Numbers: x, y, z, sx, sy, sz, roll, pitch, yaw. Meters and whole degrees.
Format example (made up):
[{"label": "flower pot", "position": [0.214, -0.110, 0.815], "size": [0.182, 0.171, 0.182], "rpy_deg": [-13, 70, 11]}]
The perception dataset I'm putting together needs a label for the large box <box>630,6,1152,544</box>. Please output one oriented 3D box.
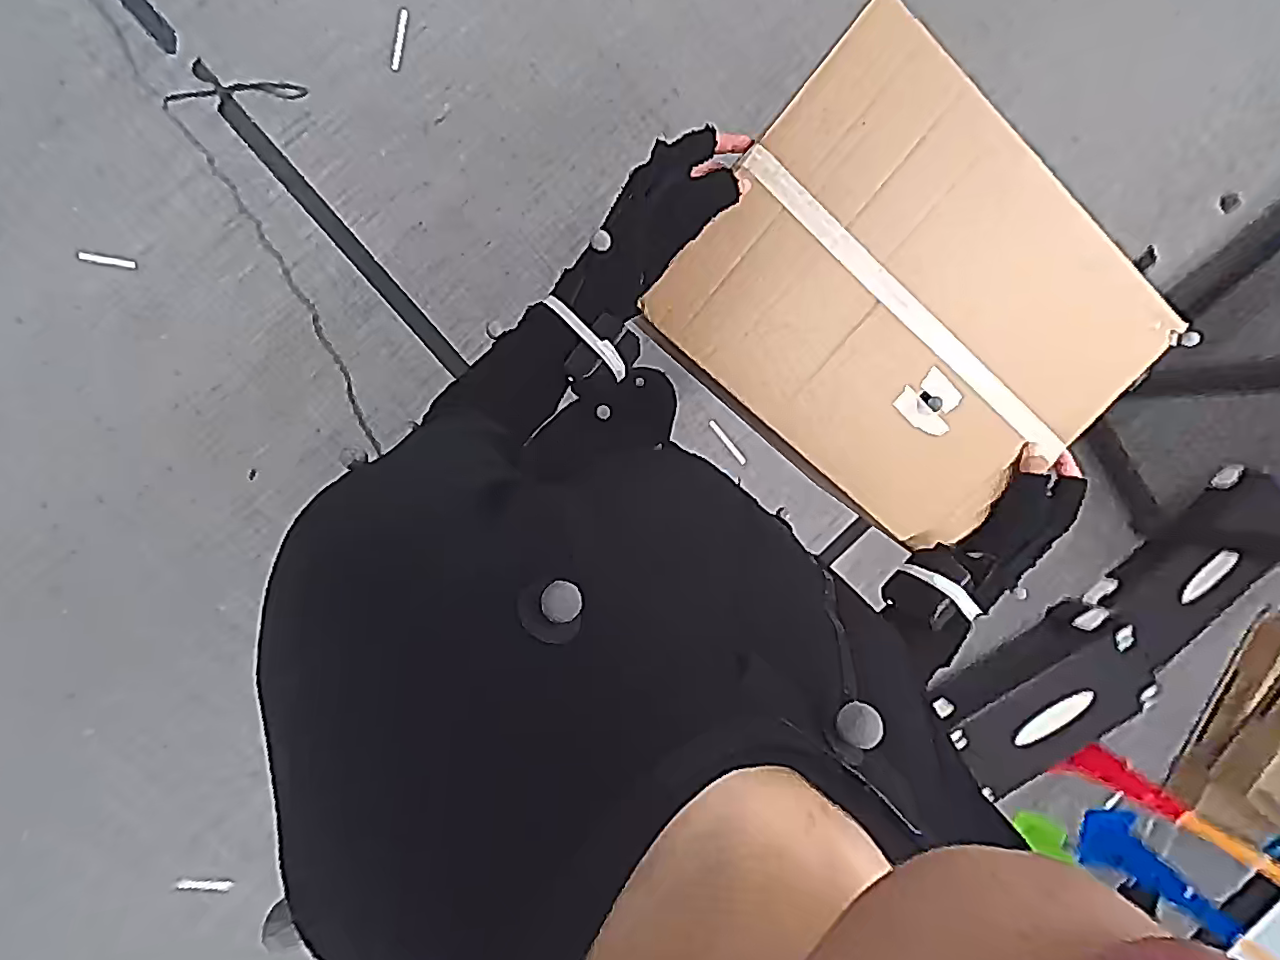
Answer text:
[{"label": "large box", "position": [0.236, -0.200, 0.648], "size": [0.408, 0.320, 0.320], "rpy_deg": [38, 101, -11]}]
